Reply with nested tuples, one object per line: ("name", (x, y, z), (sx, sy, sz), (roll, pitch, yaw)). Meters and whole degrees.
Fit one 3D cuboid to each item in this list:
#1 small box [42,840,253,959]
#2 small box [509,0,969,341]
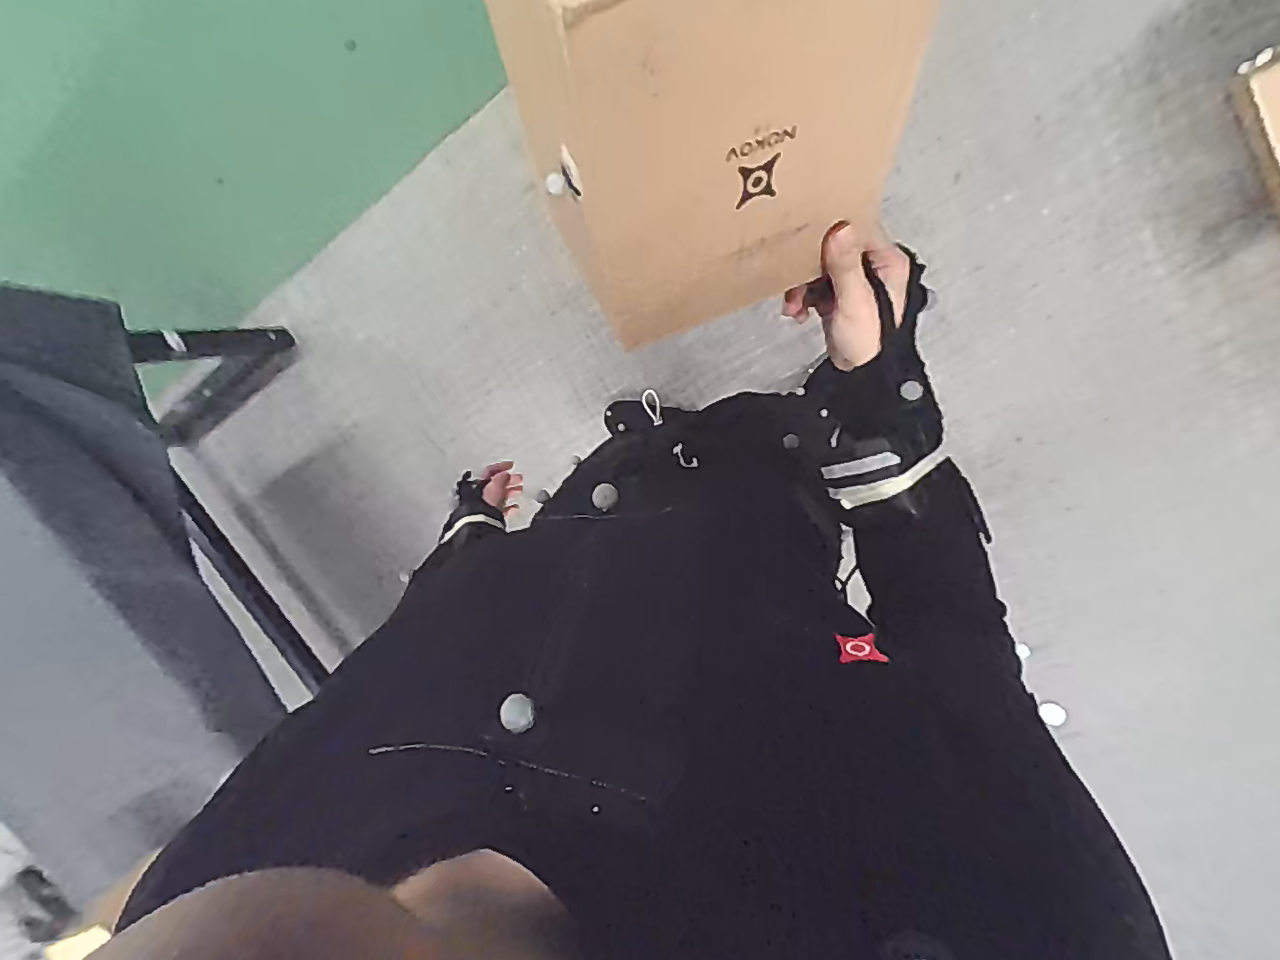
("small box", (-0.790, 0.737, 0.889), (0.179, 0.176, 0.168), (-31, 98, 18))
("small box", (0.035, -0.216, 0.293), (0.168, 0.179, 0.176), (-22, 63, -6))
